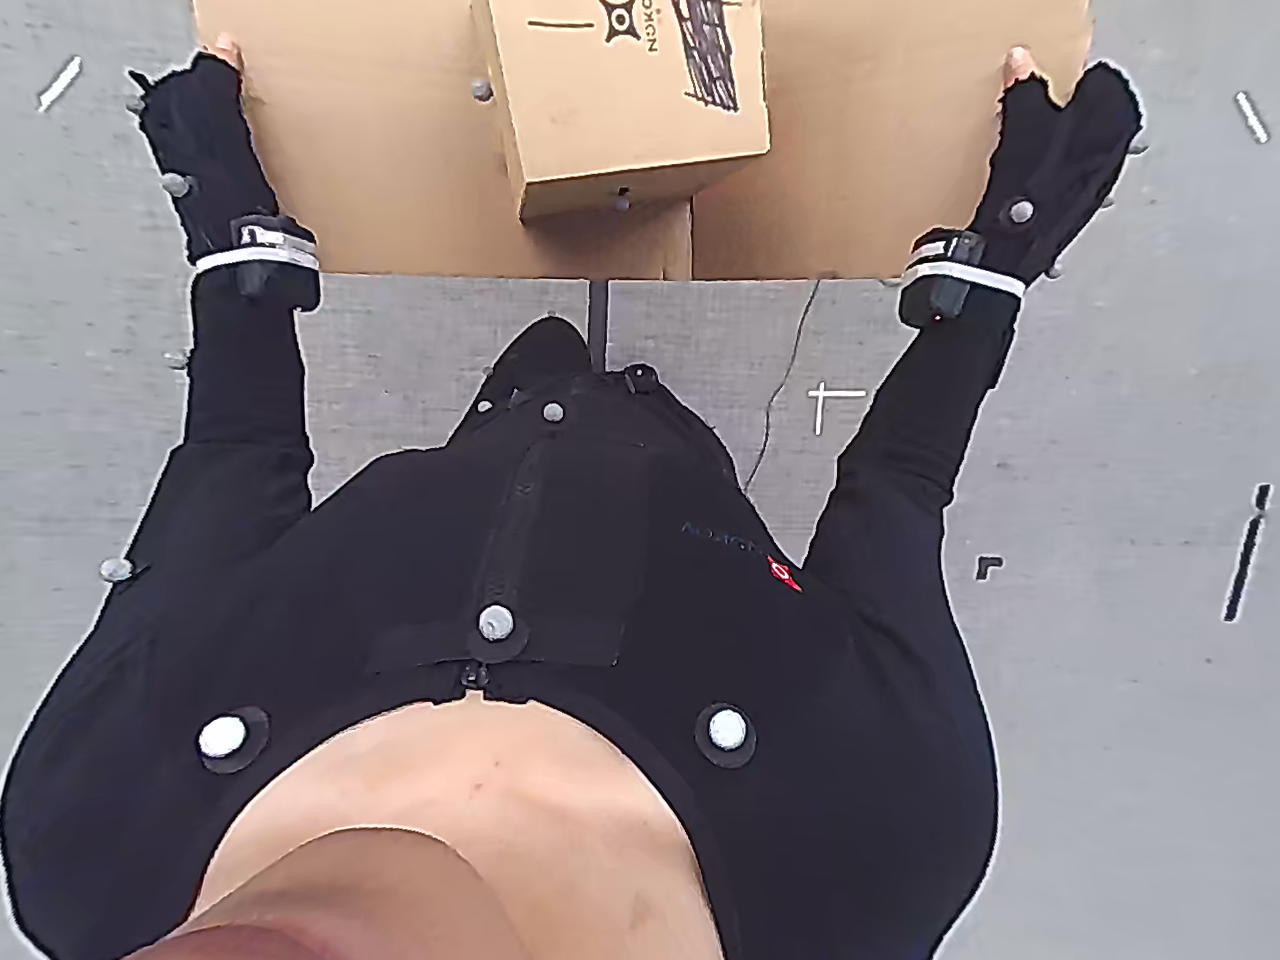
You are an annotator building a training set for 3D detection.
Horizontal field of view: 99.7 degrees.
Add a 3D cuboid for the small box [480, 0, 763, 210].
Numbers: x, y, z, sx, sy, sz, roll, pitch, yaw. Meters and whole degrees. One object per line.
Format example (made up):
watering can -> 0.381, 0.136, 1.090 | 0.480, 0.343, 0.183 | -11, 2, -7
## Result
small box -> -0.023, -0.320, 0.420 | 0.179, 0.176, 0.168 | -12, 110, -9
